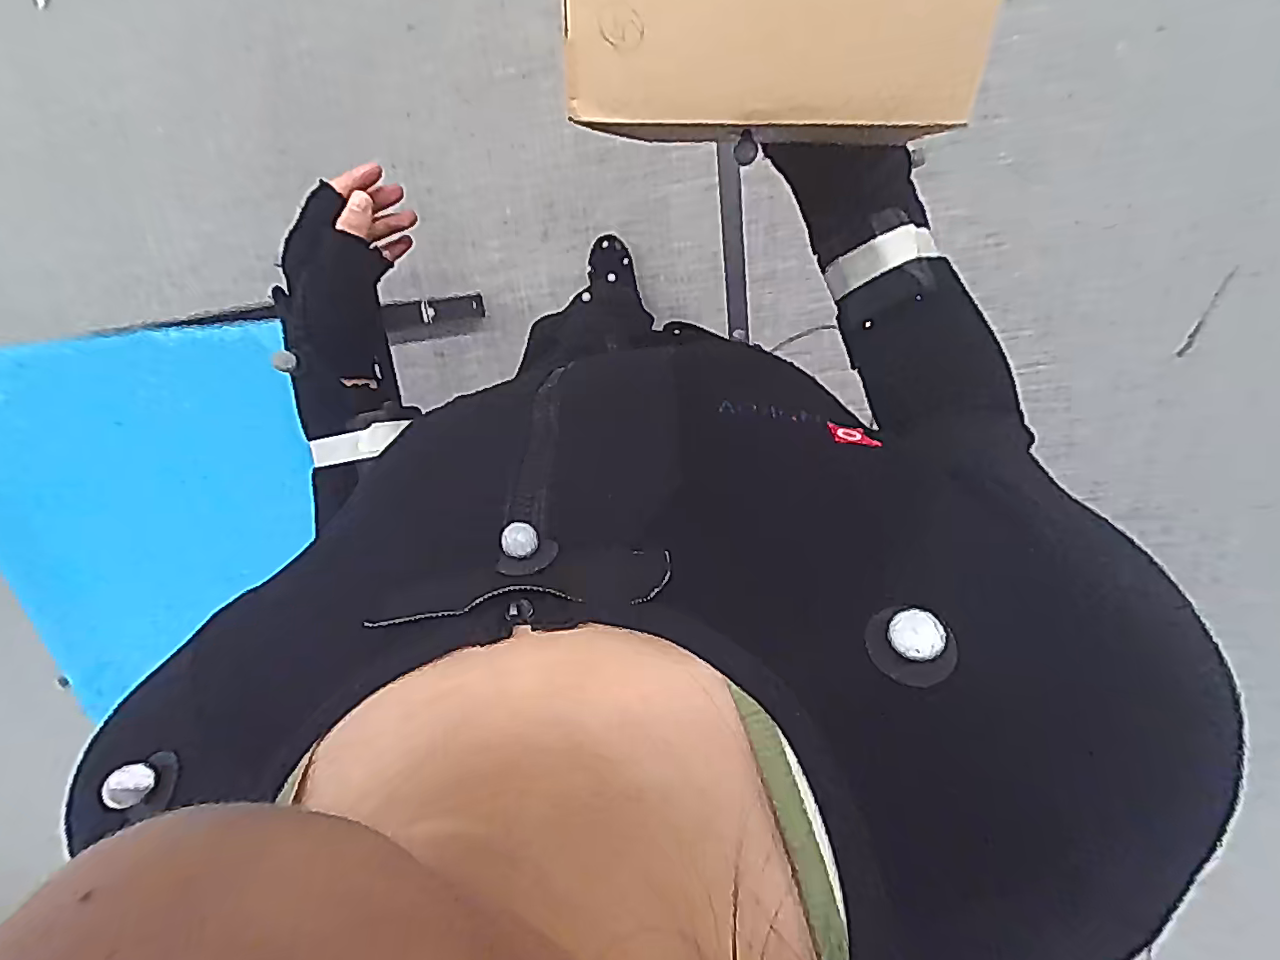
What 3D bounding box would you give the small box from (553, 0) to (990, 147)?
[{"bbox_3d":[0.070,-0.264,0.262,0.179,0.176,0.168,10,121,12],"label":"small box"}]
